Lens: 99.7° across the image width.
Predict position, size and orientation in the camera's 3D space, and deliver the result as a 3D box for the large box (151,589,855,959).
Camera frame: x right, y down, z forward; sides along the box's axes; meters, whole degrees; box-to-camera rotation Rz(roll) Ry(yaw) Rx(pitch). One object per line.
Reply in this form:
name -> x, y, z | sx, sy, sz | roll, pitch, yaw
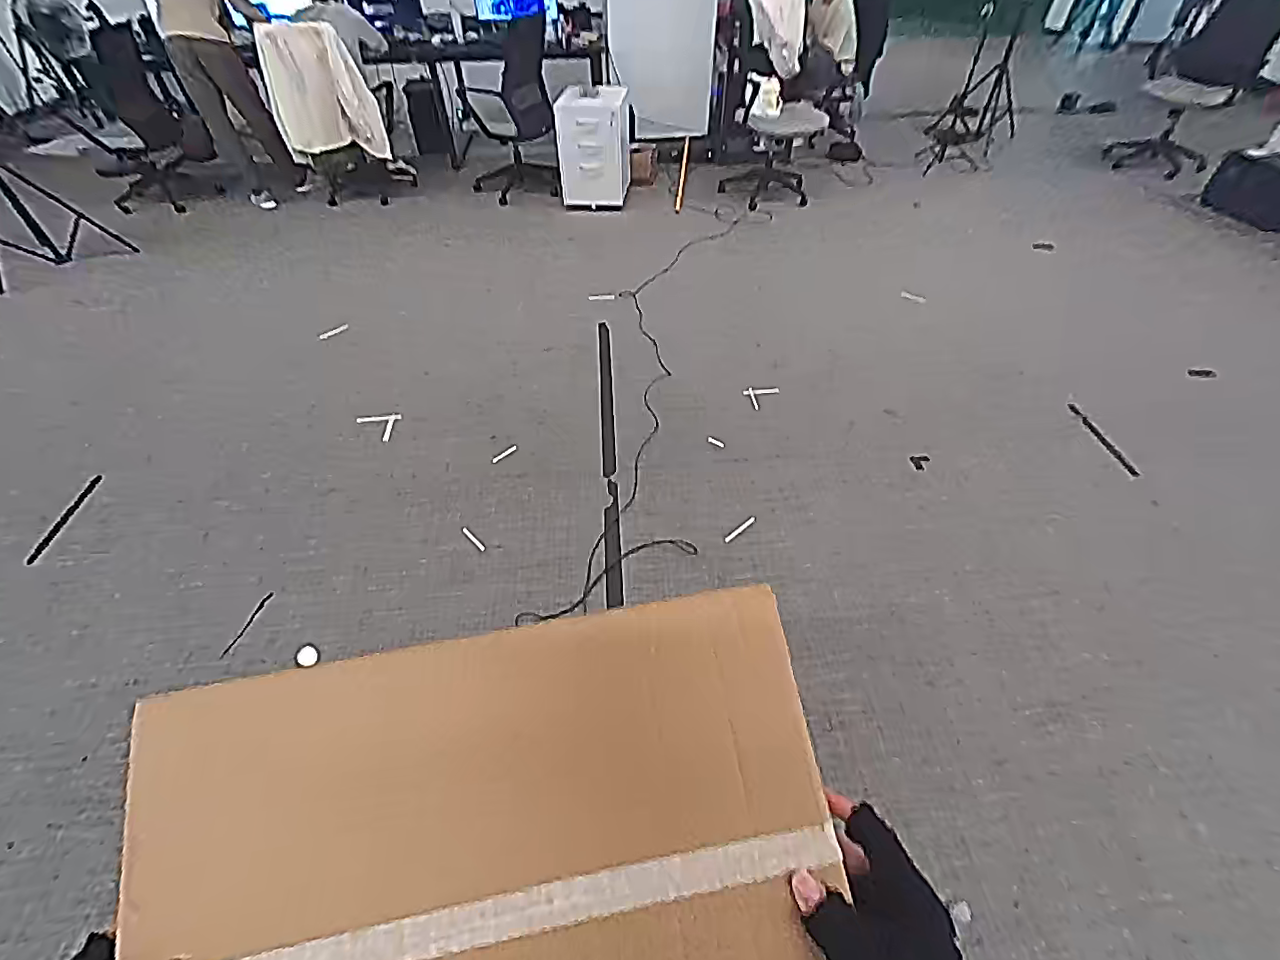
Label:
large box -> -0.086, 0.298, 0.459 | 0.408, 0.320, 0.320 | -10, 74, -5
